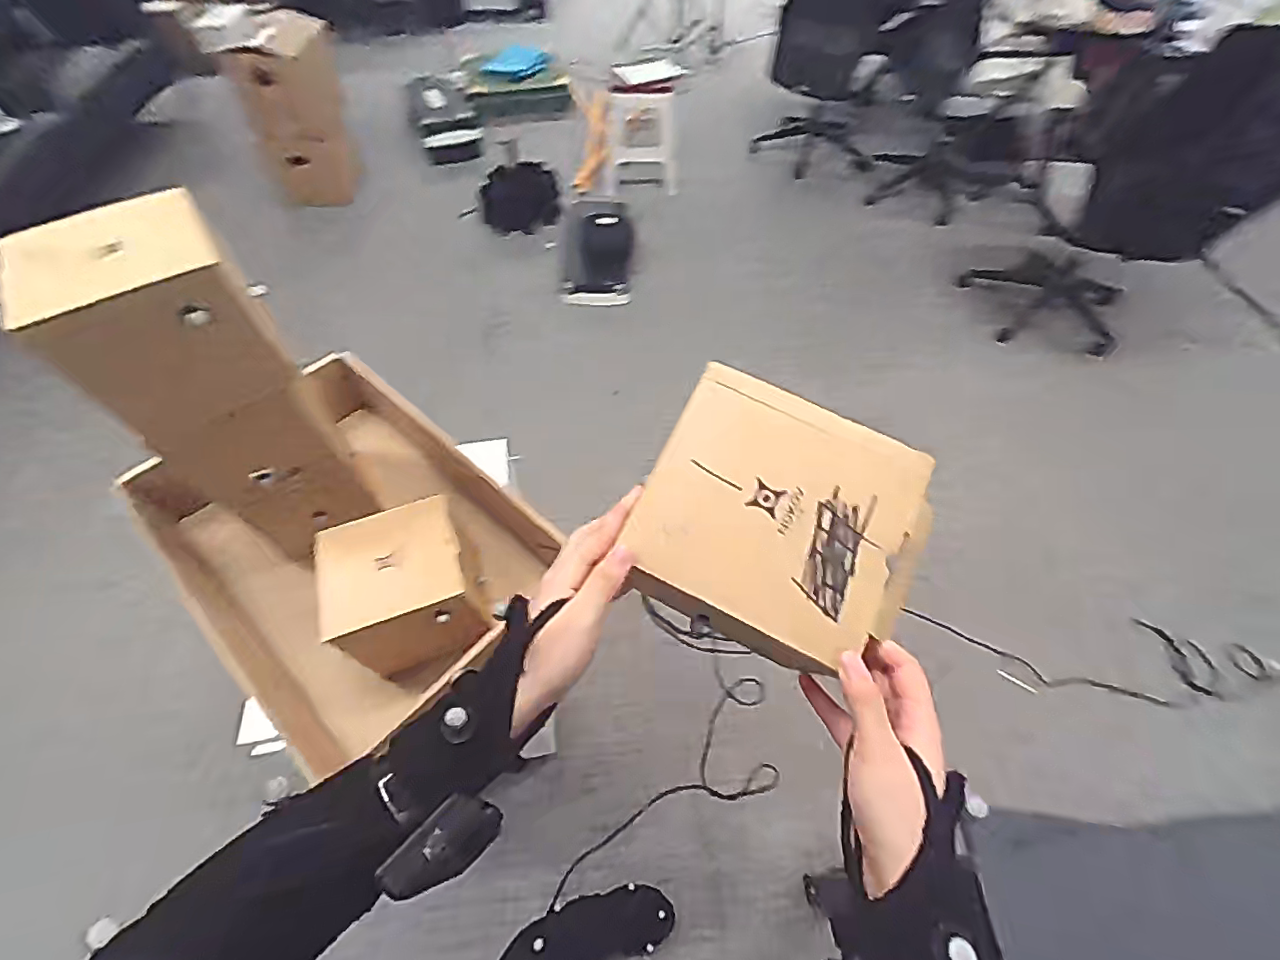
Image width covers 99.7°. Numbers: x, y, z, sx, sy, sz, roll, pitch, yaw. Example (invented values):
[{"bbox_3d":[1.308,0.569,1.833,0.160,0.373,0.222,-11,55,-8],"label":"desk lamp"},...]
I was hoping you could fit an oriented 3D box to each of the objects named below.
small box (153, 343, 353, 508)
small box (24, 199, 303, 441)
[{"bbox_3d":[-0.538,-0.093,0.759,0.168,0.176,0.179,-28,62,-16],"label":"small box"},{"bbox_3d":[-0.522,-0.179,0.619,0.179,0.176,0.168,-31,61,-18],"label":"small box"}]
